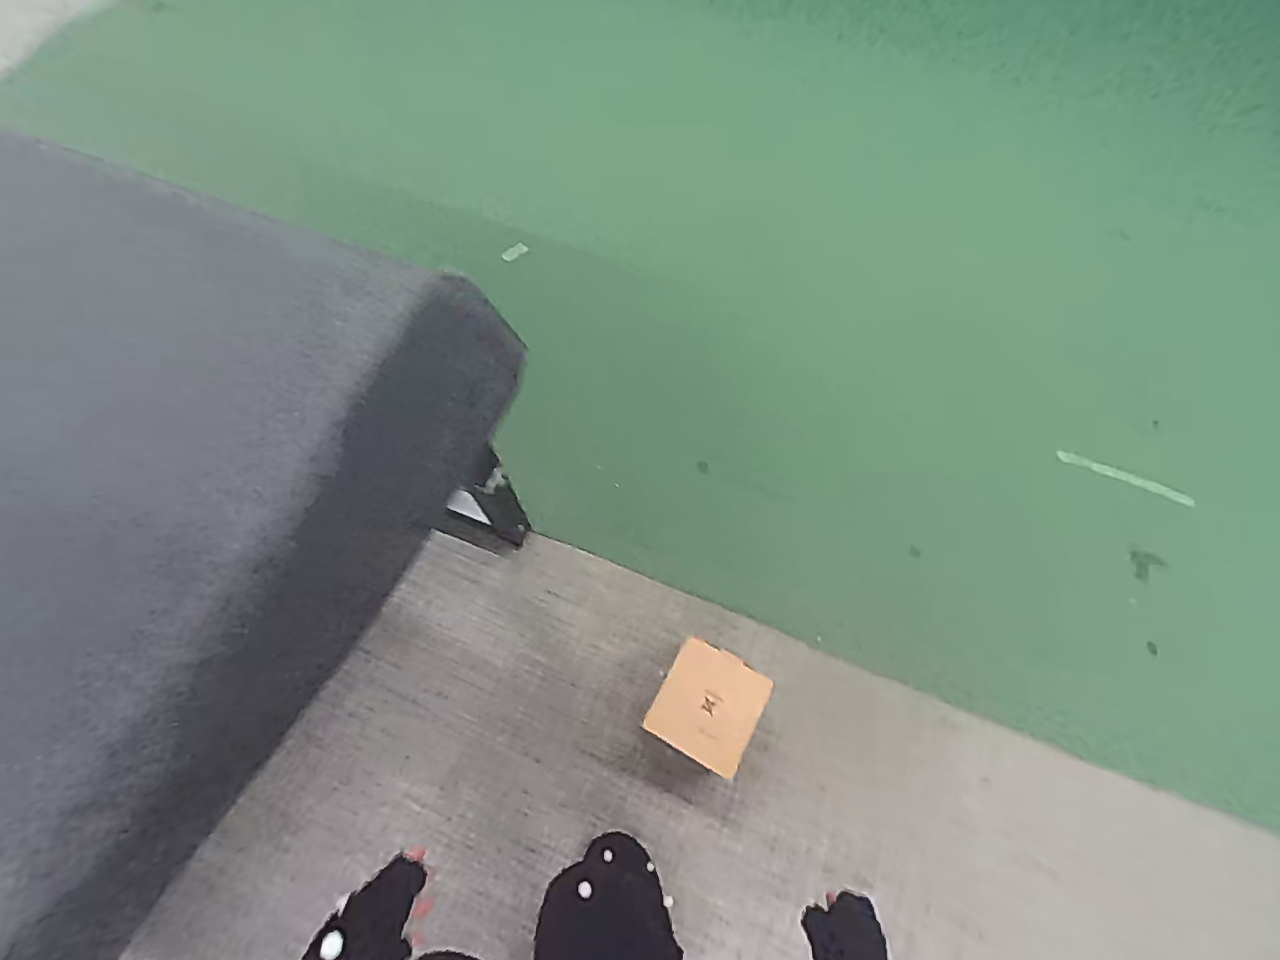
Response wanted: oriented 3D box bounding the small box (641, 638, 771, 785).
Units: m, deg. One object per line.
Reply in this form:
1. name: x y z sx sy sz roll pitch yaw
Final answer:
1. small box: 0.110 0.411 0.977 0.168 0.176 0.179 28 70 11
